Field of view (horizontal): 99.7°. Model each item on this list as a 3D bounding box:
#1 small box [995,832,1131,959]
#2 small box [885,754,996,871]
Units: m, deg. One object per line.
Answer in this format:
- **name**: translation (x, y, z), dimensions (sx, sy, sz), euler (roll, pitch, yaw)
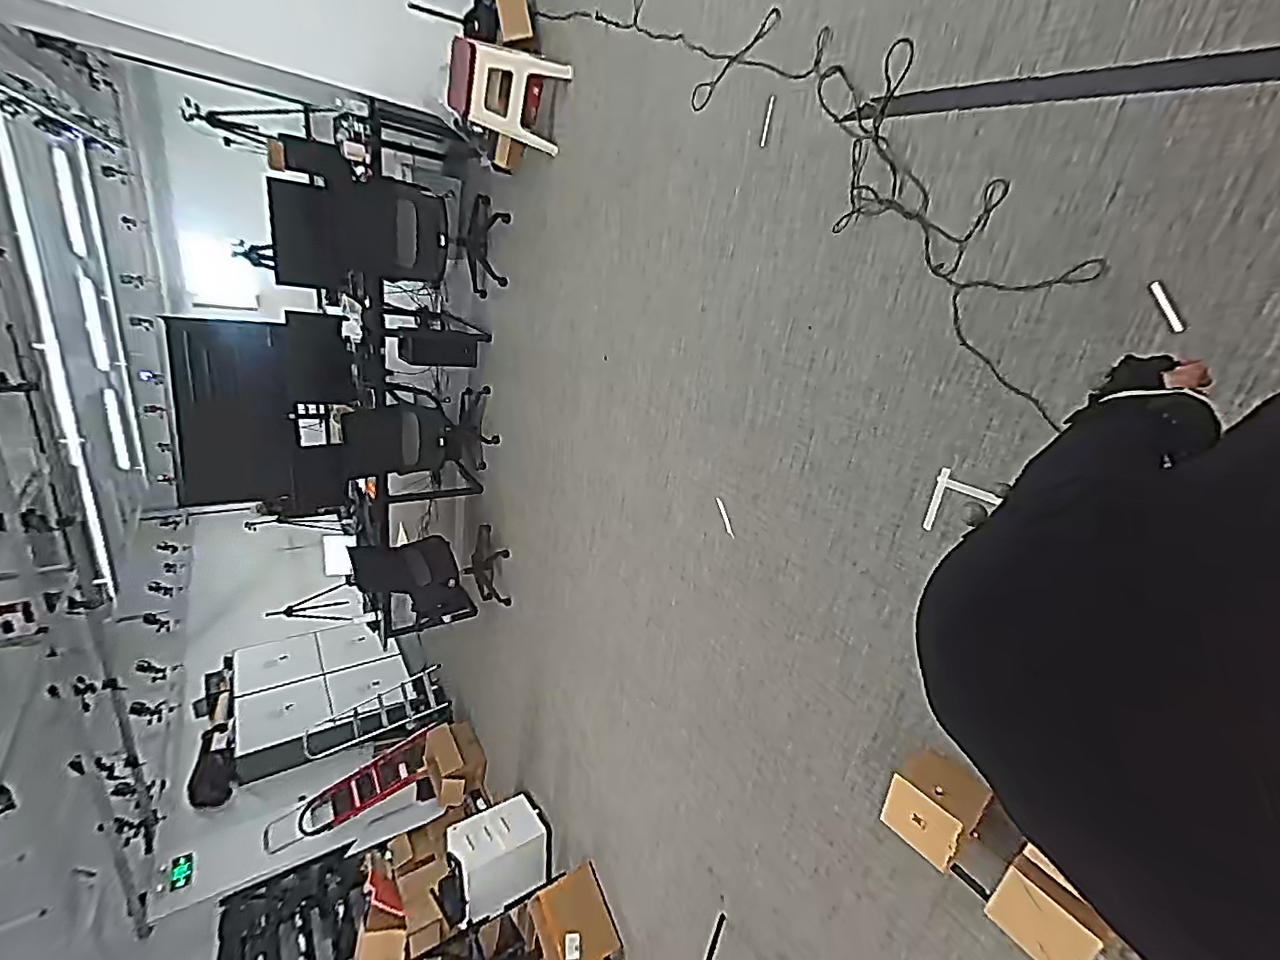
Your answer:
- **small box**: translation (0.927, 0.945, 1.199), dimensions (0.179, 0.176, 0.168), euler (35, 124, 47)
- **small box**: translation (0.777, 0.845, 1.402), dimensions (0.179, 0.176, 0.168), euler (28, 118, 49)
